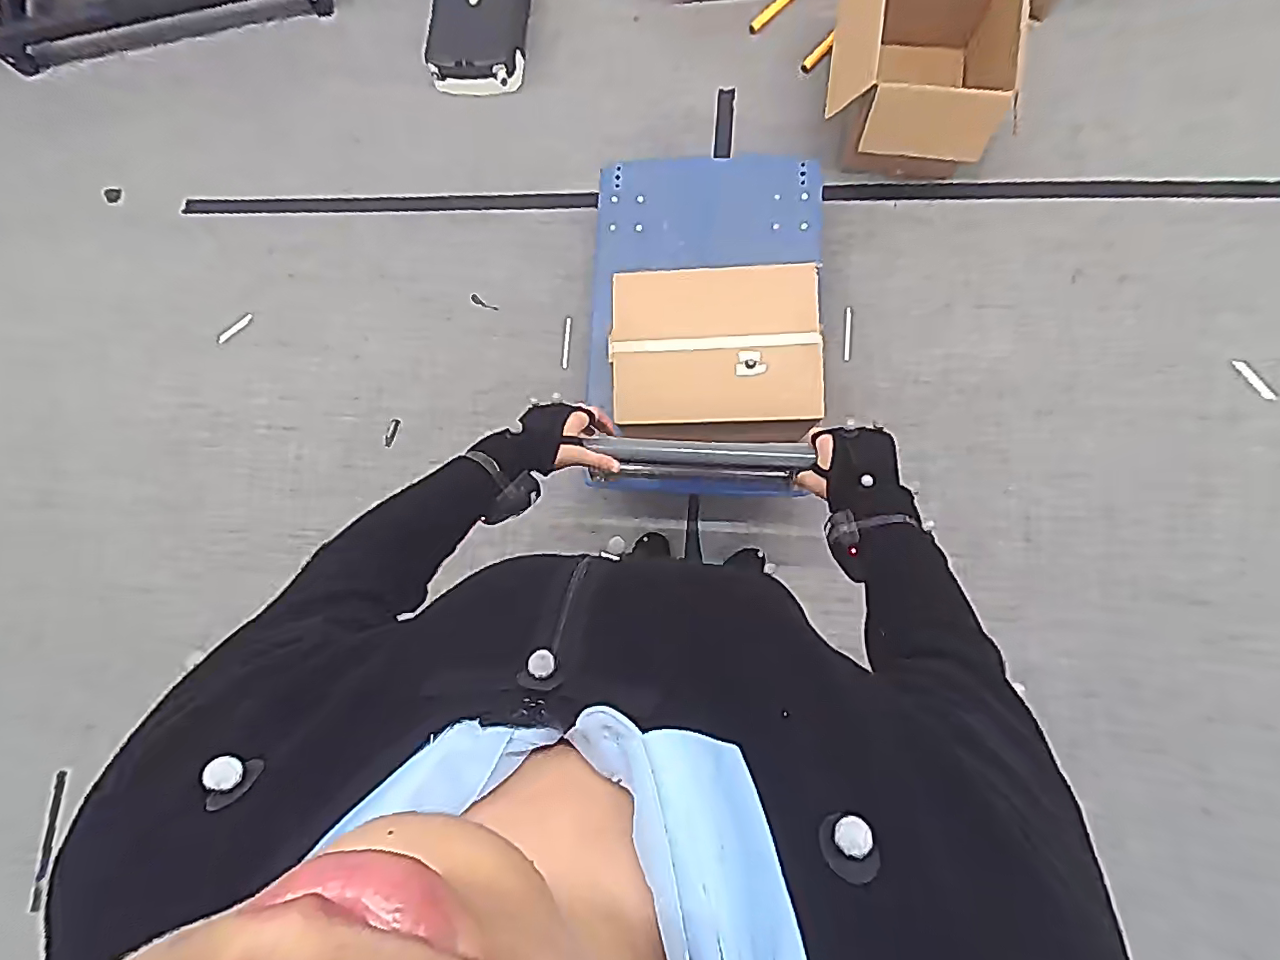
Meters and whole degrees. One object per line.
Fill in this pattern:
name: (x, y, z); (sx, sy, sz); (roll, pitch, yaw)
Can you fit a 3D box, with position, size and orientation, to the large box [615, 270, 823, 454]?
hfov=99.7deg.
large box: (0.160, -0.241, 1.213); (0.408, 0.320, 0.320); (-1, 84, 4)
